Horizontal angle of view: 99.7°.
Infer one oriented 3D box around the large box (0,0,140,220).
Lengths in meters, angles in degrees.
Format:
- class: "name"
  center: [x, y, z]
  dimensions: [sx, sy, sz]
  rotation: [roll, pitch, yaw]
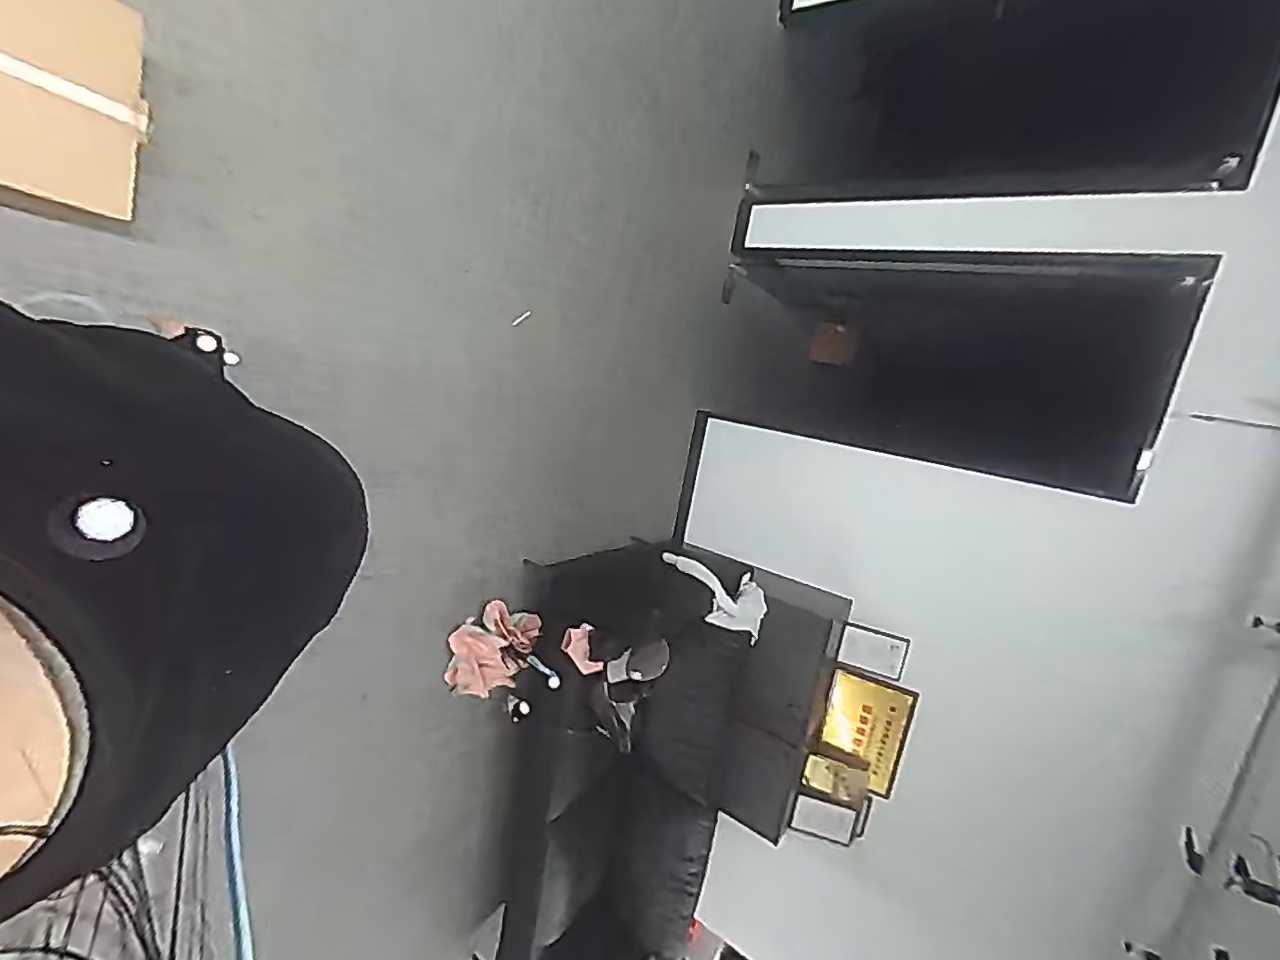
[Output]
- class: "large box"
  center: [-1.035, -0.604, 0.784]
  dimensions: [0.408, 0.320, 0.320]
  rotation: [-1, 104, -56]
